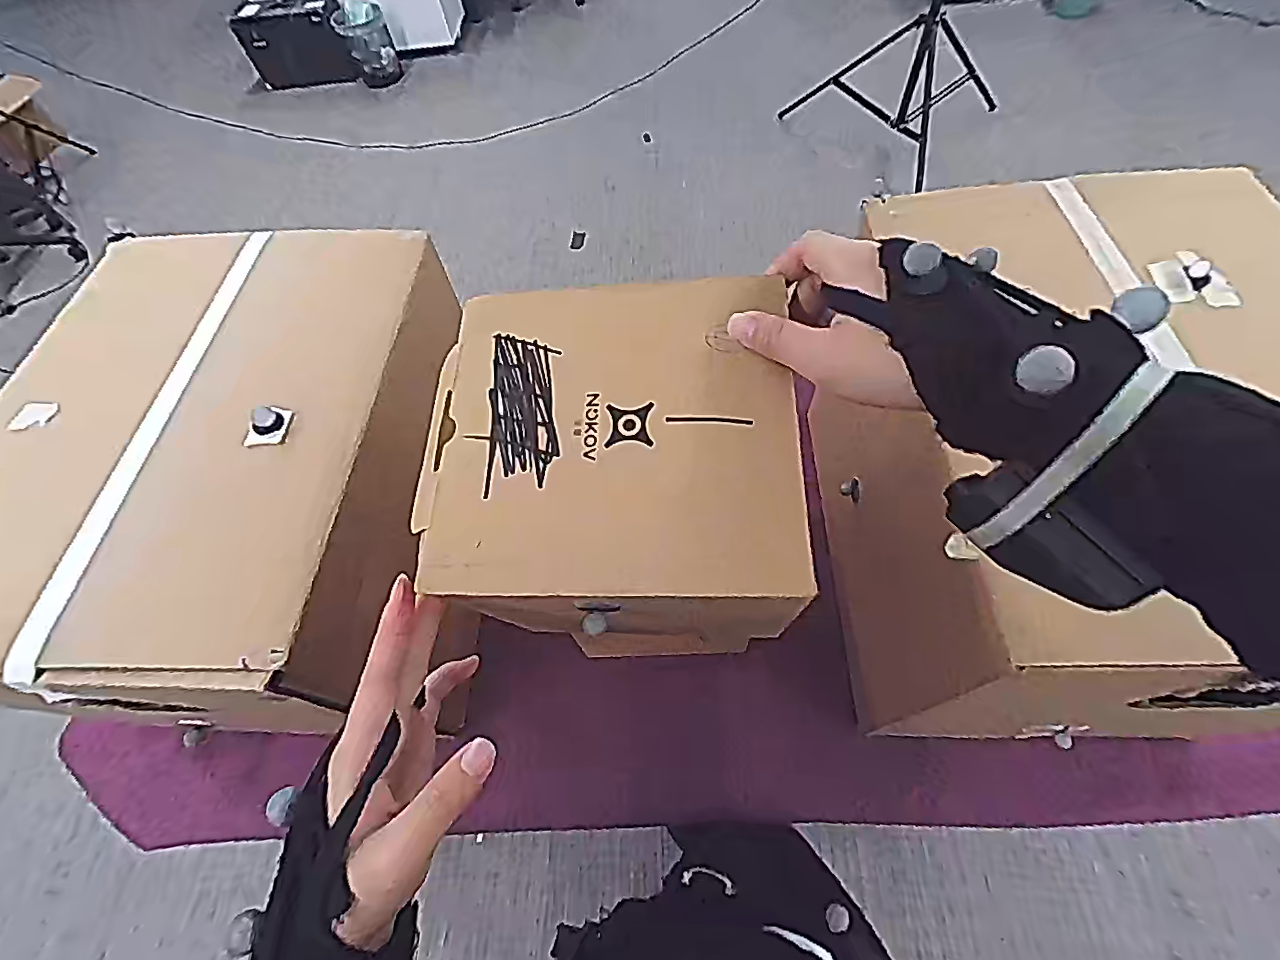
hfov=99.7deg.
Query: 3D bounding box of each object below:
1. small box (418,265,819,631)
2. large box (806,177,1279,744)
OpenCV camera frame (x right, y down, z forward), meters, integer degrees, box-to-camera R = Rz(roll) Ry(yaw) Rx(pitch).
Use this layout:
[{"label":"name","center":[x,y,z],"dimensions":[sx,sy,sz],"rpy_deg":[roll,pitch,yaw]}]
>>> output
[{"label":"small box","center":[0.001,-0.001,0.329],"dimensions":[0.179,0.176,0.168],"rpy_deg":[-1,68,8]},{"label":"large box","center":[0.356,0.000,0.488],"dimensions":[0.320,0.320,0.408],"rpy_deg":[-2,58,4]}]
